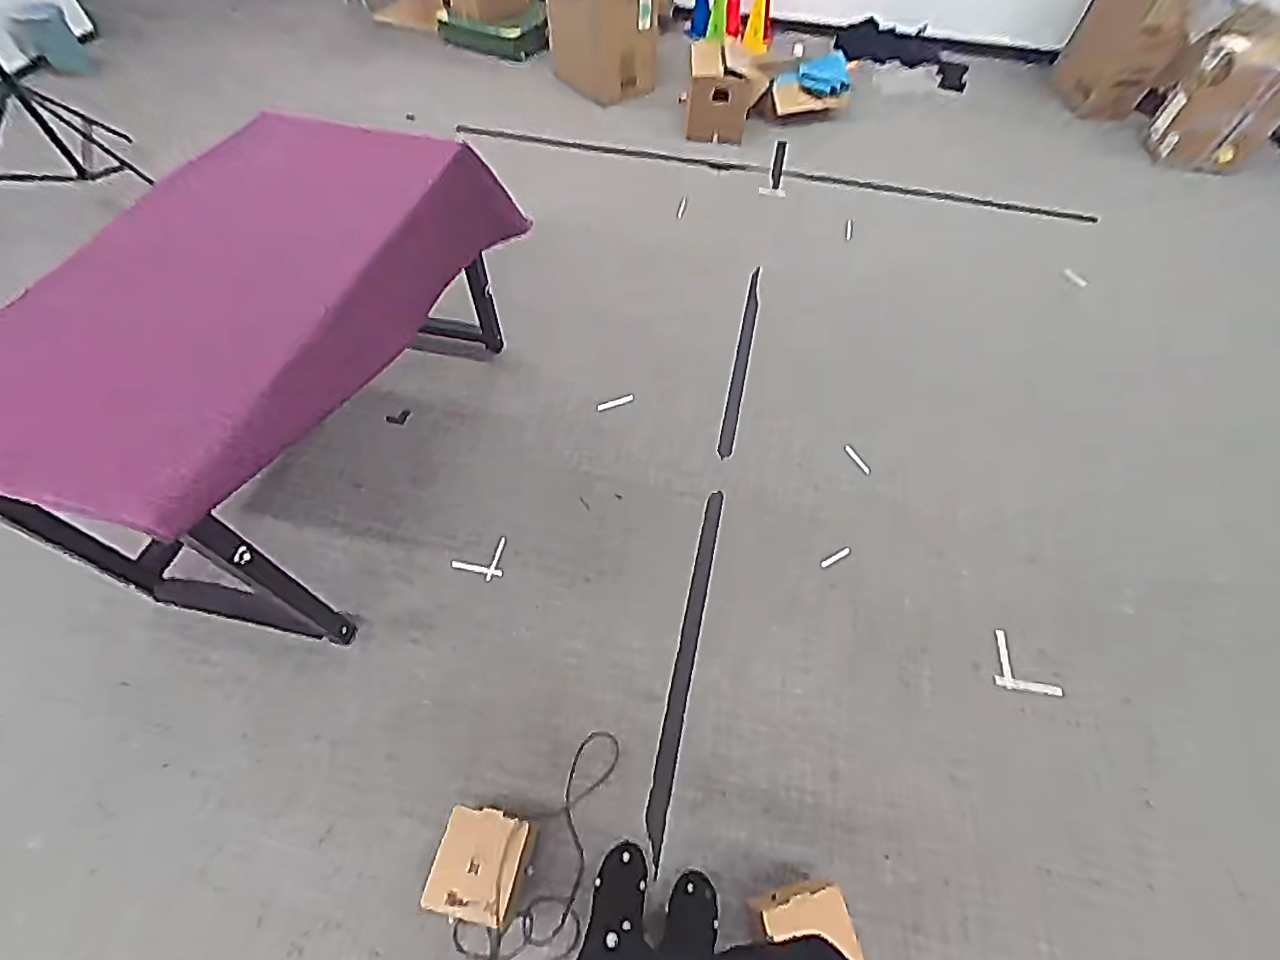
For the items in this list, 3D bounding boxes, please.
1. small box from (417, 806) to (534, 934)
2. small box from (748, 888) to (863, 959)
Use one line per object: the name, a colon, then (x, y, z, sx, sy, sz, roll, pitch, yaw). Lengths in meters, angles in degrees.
small box: (-0.328, 0.805, 1.124, 0.168, 0.176, 0.179, 11, 55, 6)
small box: (0.328, 0.935, 1.070, 0.168, 0.176, 0.179, -13, 59, -8)
